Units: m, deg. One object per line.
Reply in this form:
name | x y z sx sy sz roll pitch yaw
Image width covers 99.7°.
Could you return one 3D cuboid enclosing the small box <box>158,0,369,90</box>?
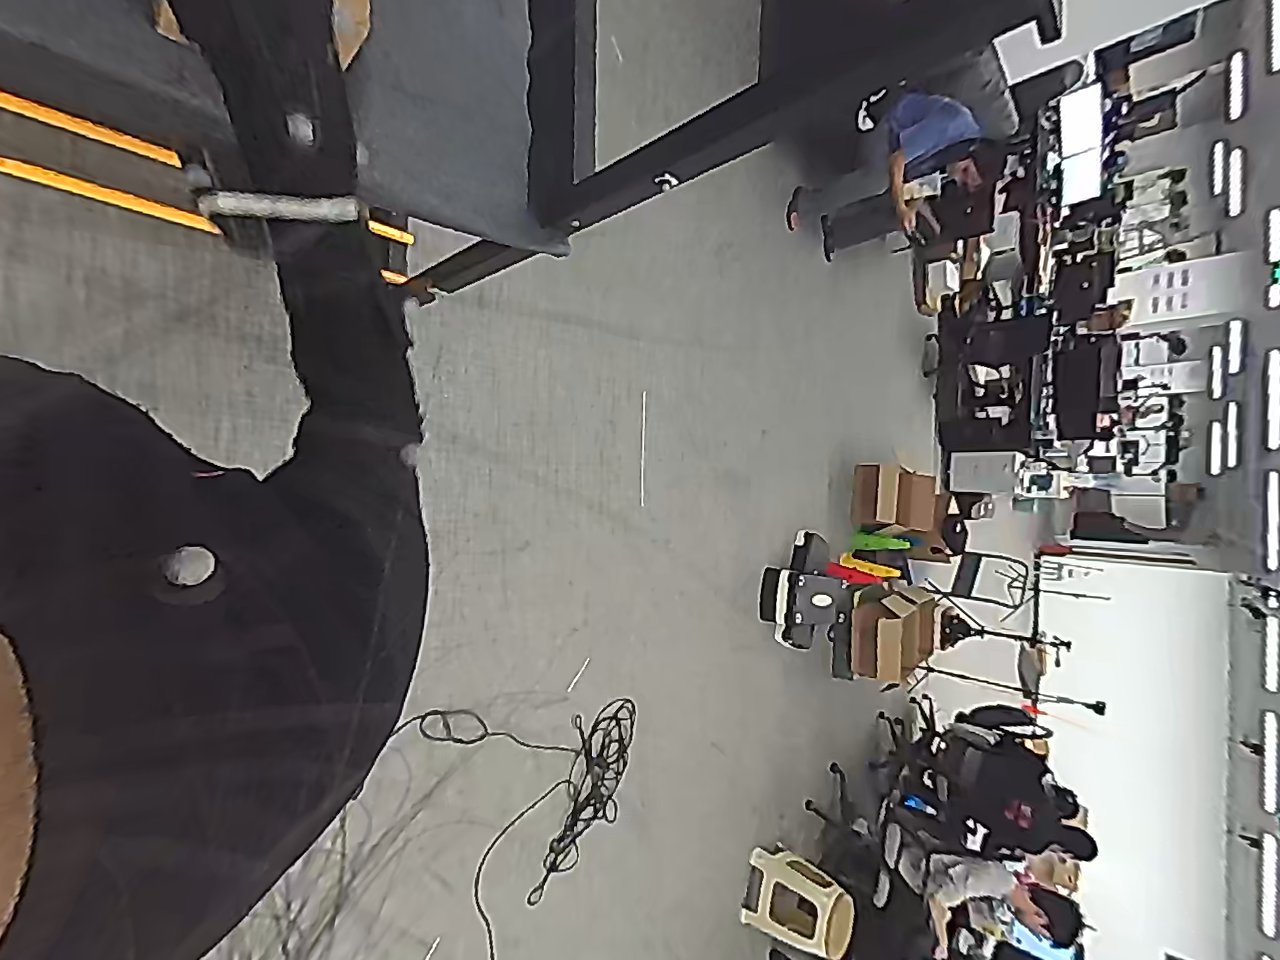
small box | -0.416 -0.590 0.594 0.168 0.176 0.179 -2 91 -47
